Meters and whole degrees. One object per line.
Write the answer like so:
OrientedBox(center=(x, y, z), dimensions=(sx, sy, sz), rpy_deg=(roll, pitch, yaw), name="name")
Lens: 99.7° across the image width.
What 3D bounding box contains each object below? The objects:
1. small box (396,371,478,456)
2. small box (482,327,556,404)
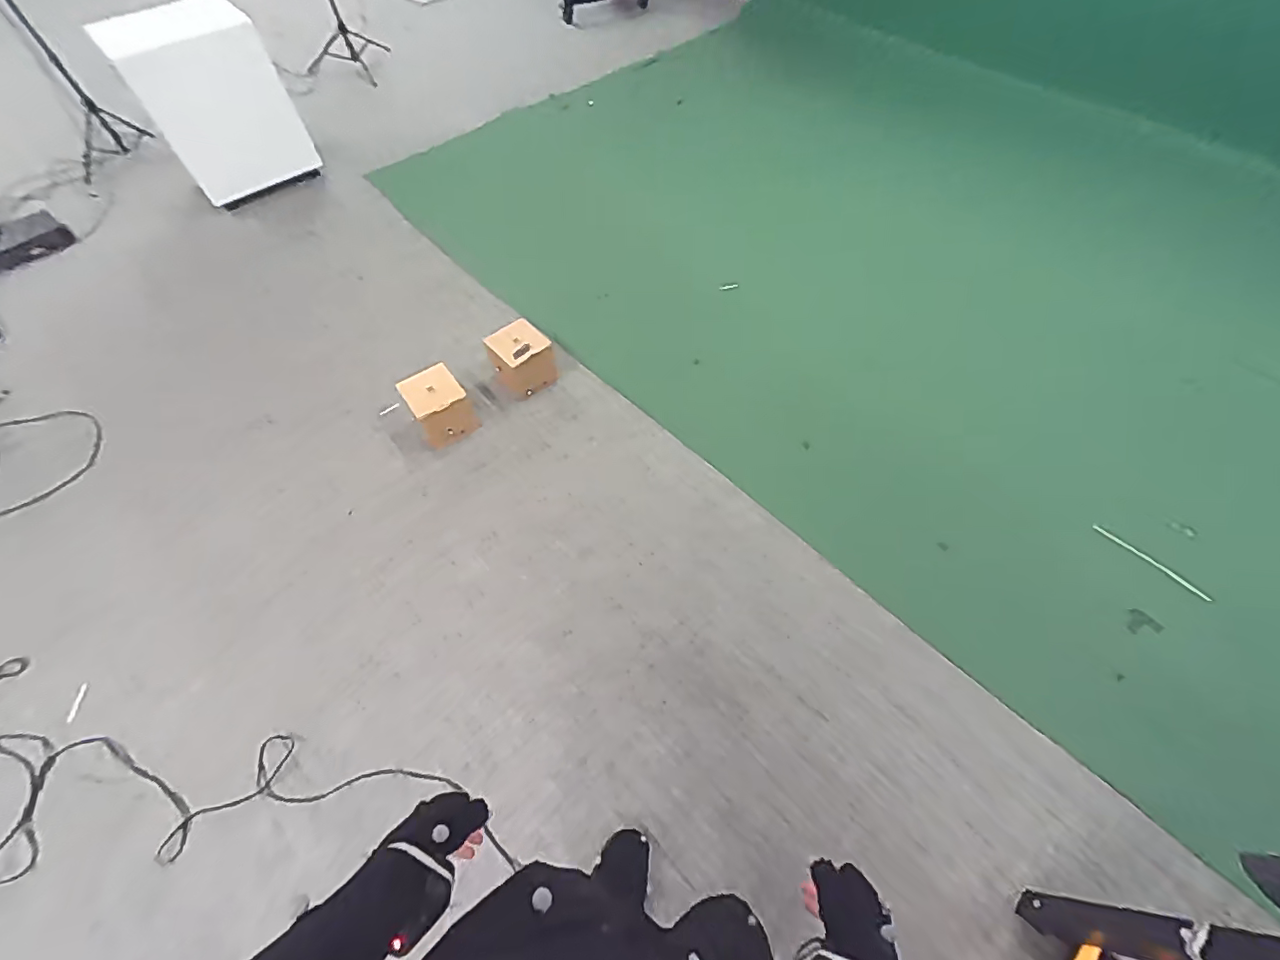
OrientedBox(center=(-0.654, -0.212, 1.753), dimensions=(0.168, 0.176, 0.179), rpy_deg=(-33, 64, -19), name="small box")
OrientedBox(center=(-0.411, -0.387, 1.864), dimensions=(0.168, 0.176, 0.179), rpy_deg=(-38, 64, -21), name="small box")
